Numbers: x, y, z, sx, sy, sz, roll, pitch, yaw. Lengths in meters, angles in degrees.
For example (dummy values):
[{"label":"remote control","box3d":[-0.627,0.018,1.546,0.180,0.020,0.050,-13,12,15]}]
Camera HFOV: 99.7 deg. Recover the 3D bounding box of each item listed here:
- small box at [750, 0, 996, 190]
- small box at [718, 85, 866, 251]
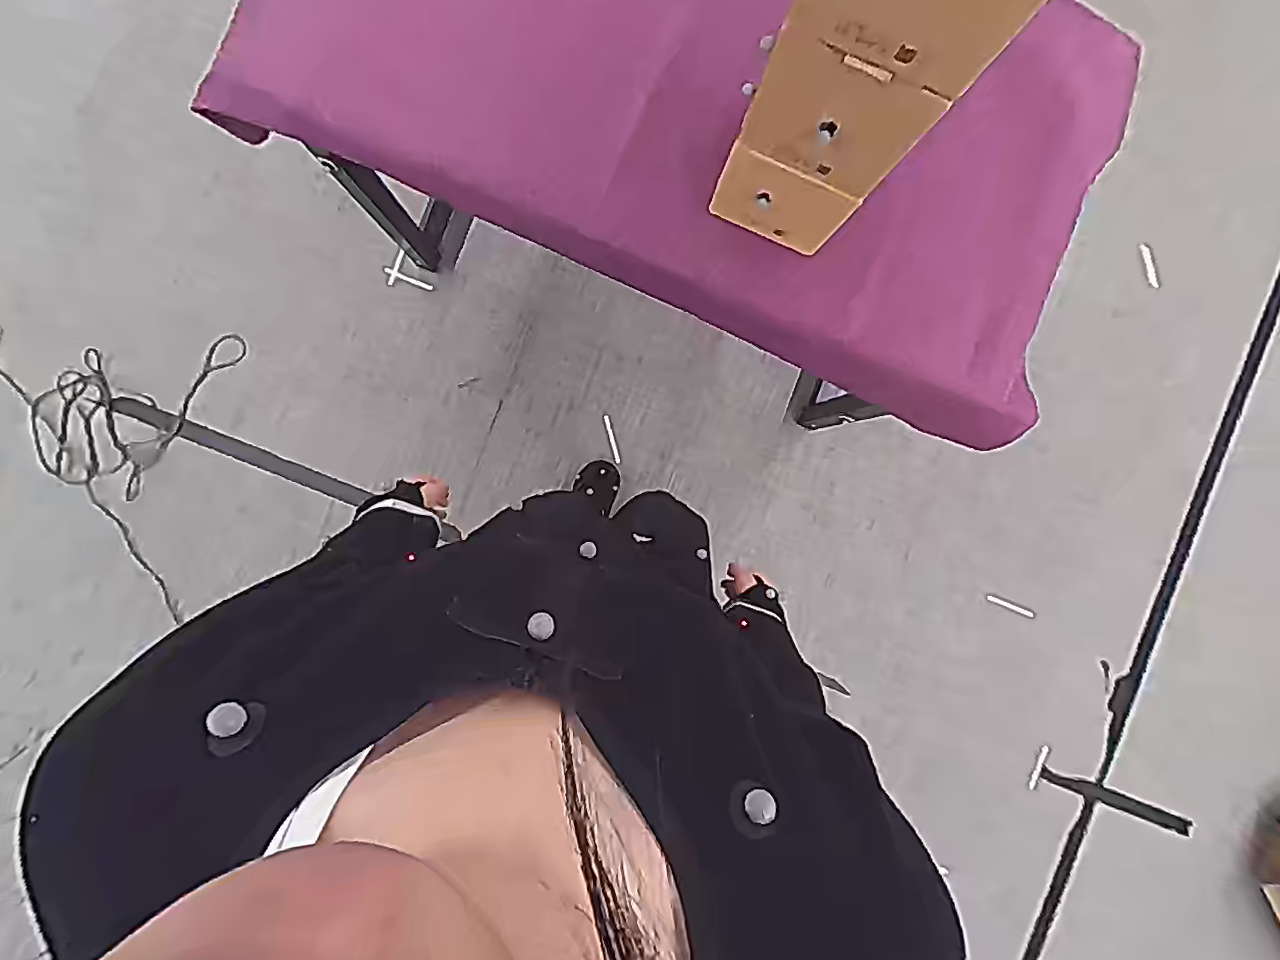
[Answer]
[{"label":"small box","box3d":[0.227,-0.438,0.548,0.168,0.176,0.179,23,89,-4]},{"label":"small box","box3d":[0.213,-0.436,0.711,0.168,0.176,0.179,22,89,-4]}]
